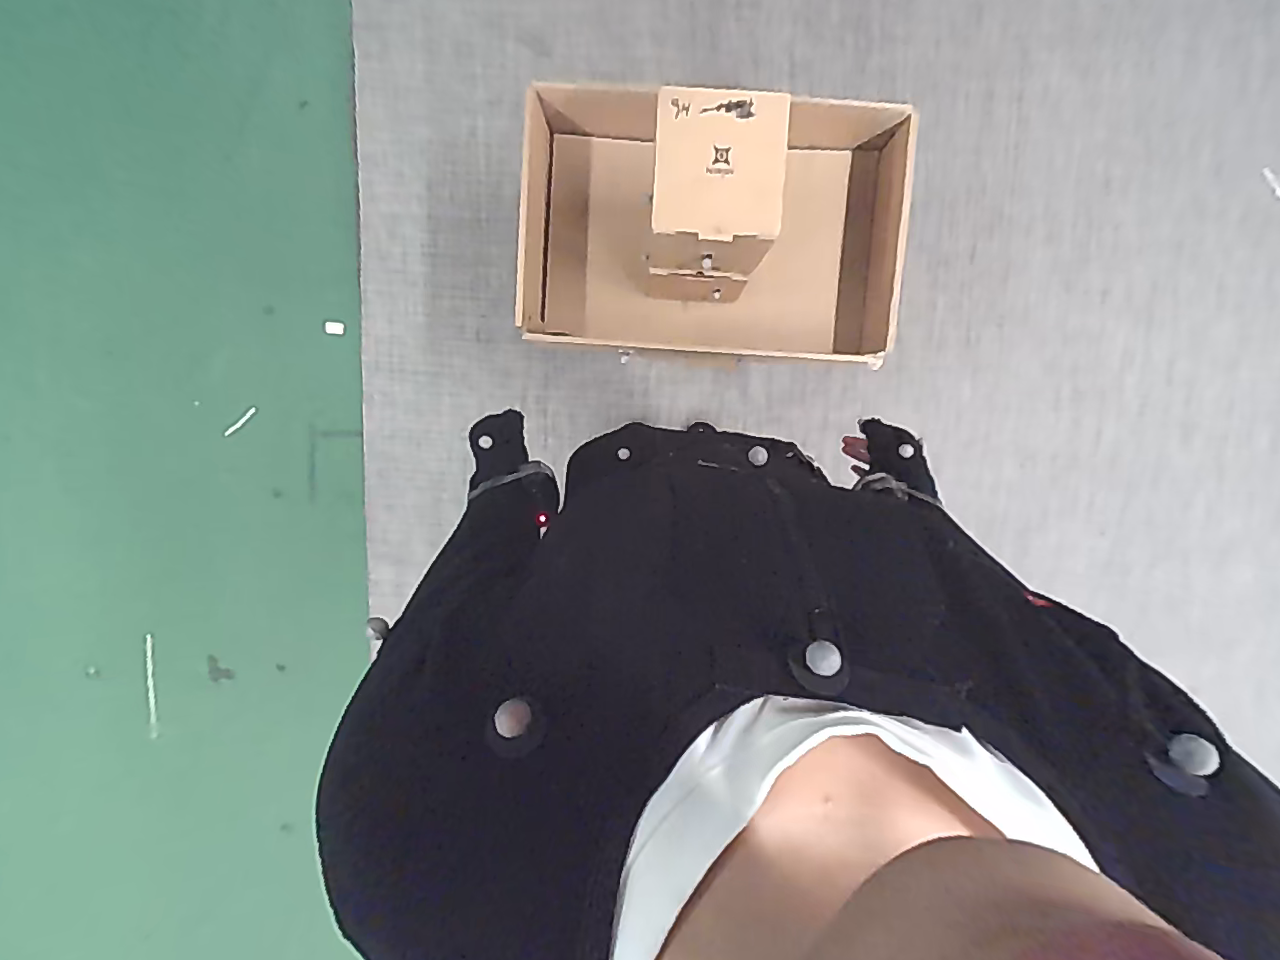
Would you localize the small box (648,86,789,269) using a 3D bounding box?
[{"bbox_3d":[0.100,-0.407,0.760,0.168,0.176,0.179,4,97,0],"label":"small box"}]

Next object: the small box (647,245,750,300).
[{"bbox_3d":[0.099,-0.417,0.923,0.168,0.176,0.179,3,94,0],"label":"small box"}]
